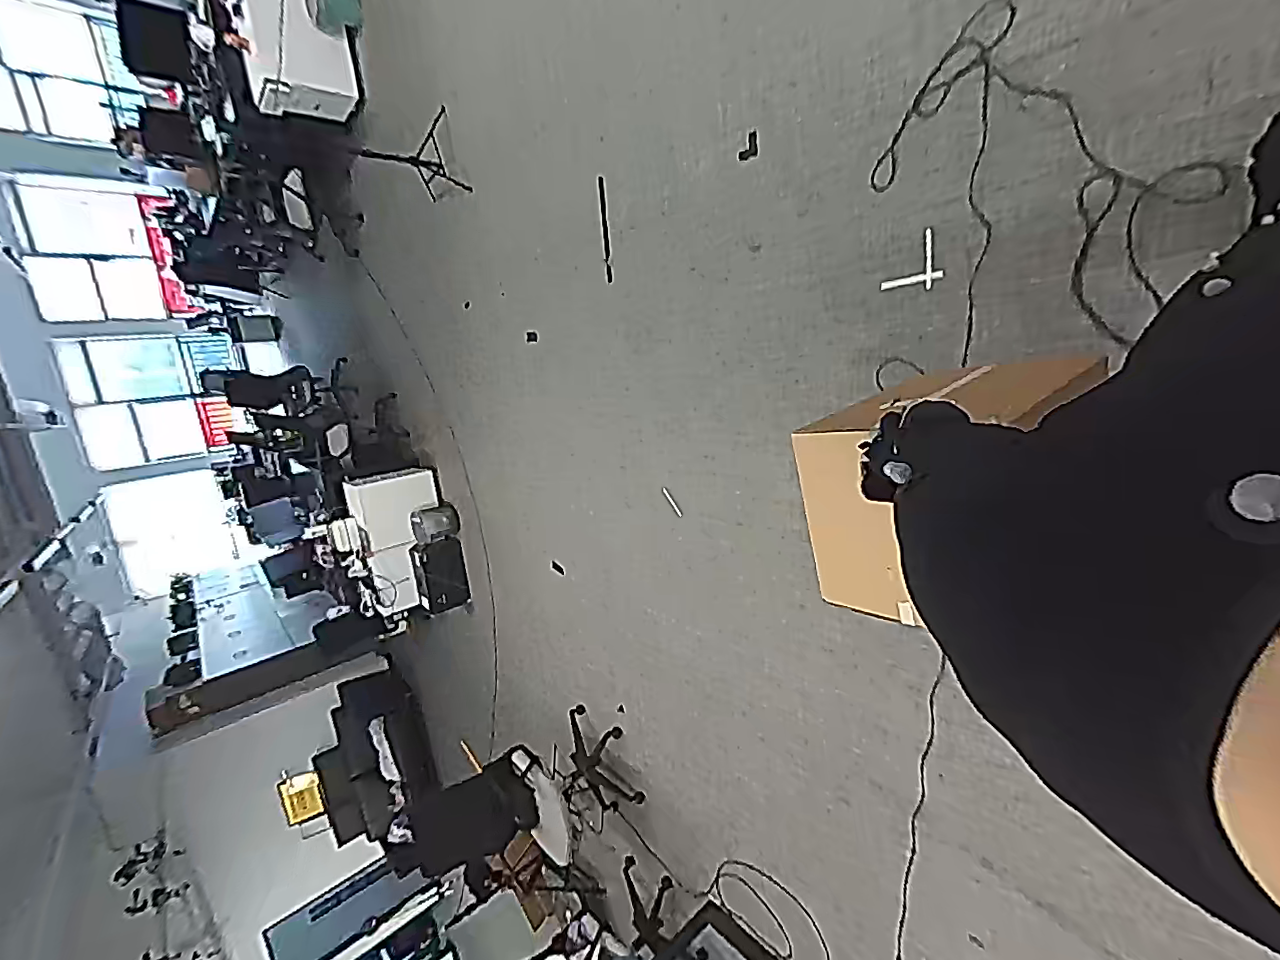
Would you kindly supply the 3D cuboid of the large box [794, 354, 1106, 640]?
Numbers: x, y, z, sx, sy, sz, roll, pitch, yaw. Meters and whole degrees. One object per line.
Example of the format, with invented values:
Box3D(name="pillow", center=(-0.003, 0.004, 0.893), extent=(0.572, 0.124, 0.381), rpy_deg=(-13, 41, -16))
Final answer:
Box3D(name="large box", center=(0.525, 0.002, 0.900), extent=(0.320, 0.408, 0.320), rpy_deg=(2, 111, 54))
